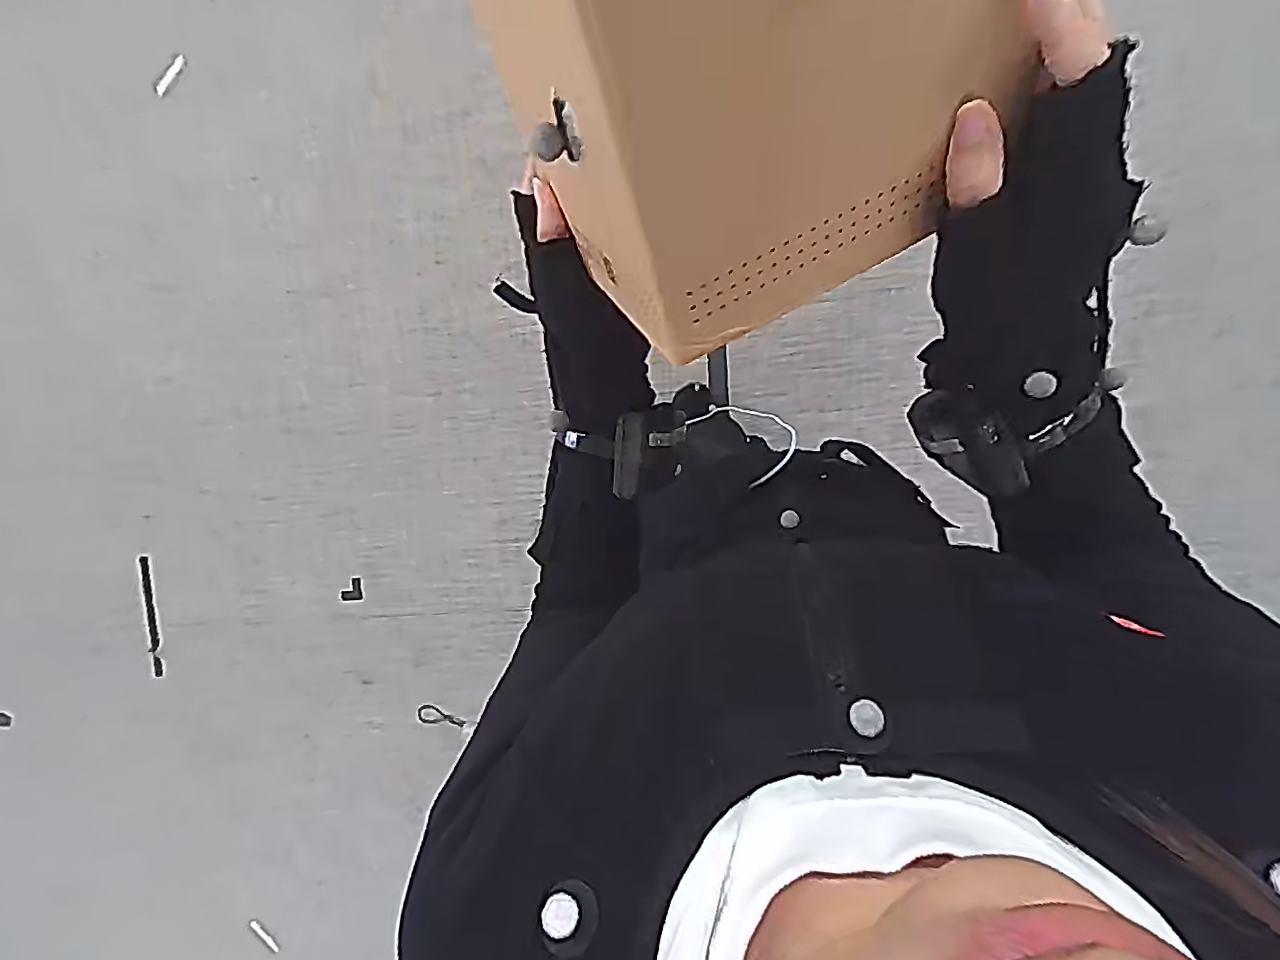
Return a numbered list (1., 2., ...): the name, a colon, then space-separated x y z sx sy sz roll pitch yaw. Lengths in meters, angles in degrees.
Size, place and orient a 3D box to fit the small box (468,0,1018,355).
1. small box: 0.040 -0.186 0.242 0.179 0.176 0.168 -29 47 -5
